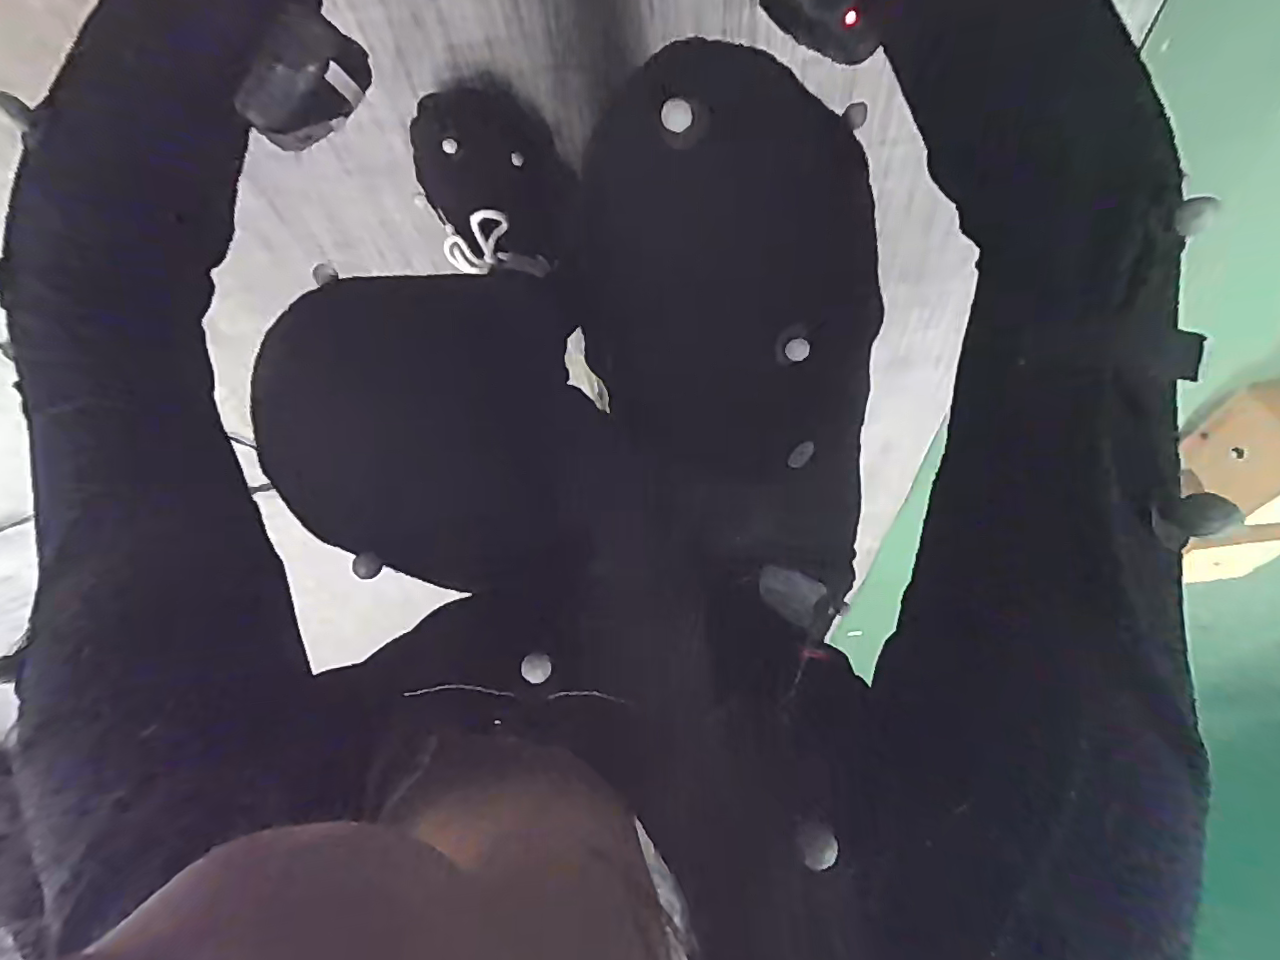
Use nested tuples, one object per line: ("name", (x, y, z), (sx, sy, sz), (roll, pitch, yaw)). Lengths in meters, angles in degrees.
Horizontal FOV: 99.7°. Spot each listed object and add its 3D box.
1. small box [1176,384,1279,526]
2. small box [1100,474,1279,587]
("small box", (1.043, -0.045, 0.868), (0.179, 0.176, 0.168), (-6, 145, 5))
("small box", (1.081, 0.094, 1.070), (0.179, 0.176, 0.168), (-8, 144, 7))
